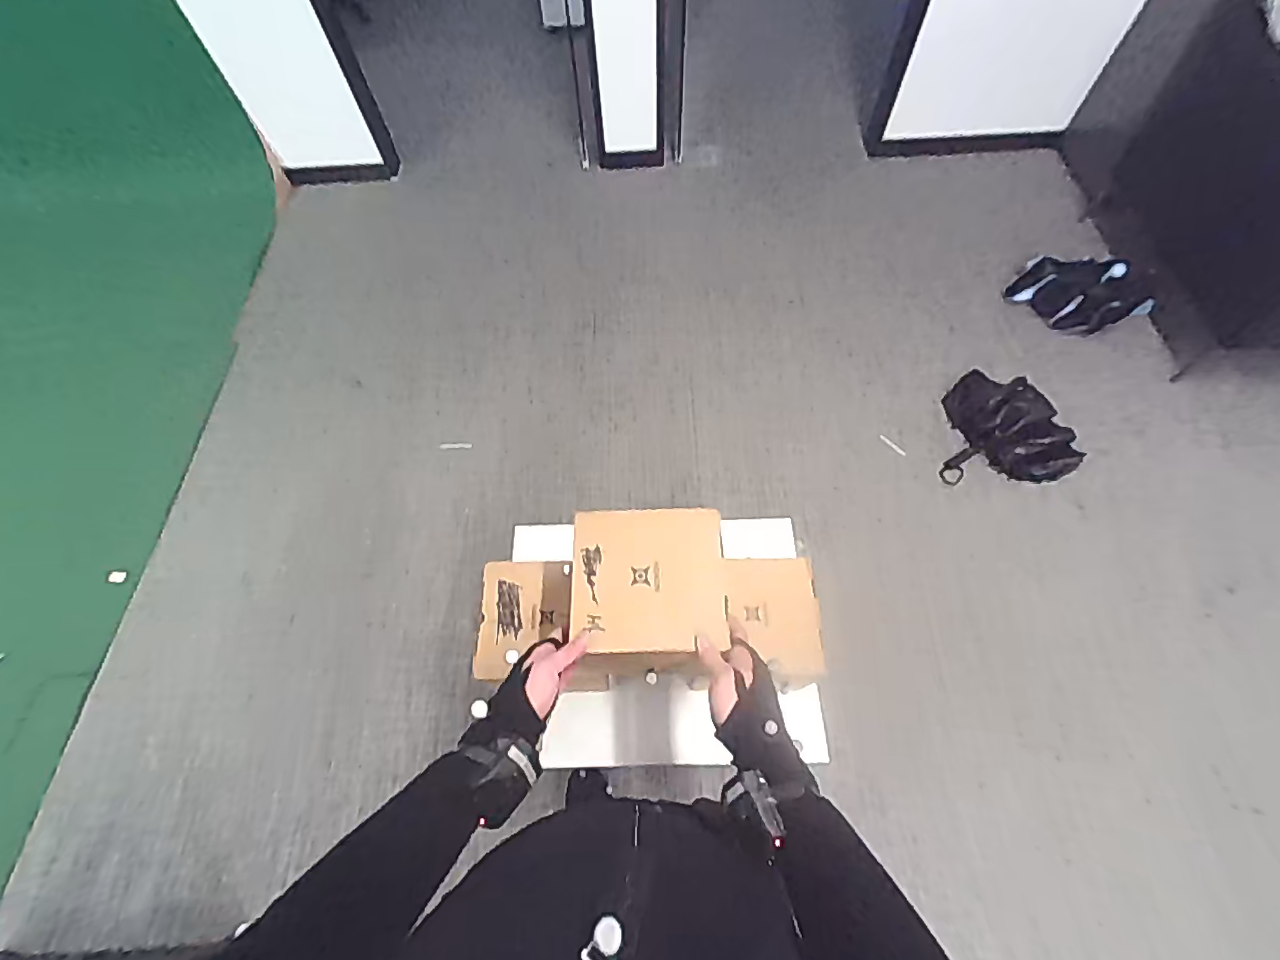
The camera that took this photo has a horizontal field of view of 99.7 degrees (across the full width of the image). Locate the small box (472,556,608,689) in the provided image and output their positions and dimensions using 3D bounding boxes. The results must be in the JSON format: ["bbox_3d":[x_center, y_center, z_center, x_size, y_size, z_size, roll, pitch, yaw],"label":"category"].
[{"bbox_3d":[-0.137,0.220,0.817,0.179,0.176,0.168,0,63,-2],"label":"small box"}]

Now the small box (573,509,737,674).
[{"bbox_3d":[0.015,0.145,0.675,0.179,0.176,0.168,0,64,0],"label":"small box"}]

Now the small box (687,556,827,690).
[{"bbox_3d":[0.163,0.220,0.818,0.179,0.176,0.168,0,63,2],"label":"small box"}]
